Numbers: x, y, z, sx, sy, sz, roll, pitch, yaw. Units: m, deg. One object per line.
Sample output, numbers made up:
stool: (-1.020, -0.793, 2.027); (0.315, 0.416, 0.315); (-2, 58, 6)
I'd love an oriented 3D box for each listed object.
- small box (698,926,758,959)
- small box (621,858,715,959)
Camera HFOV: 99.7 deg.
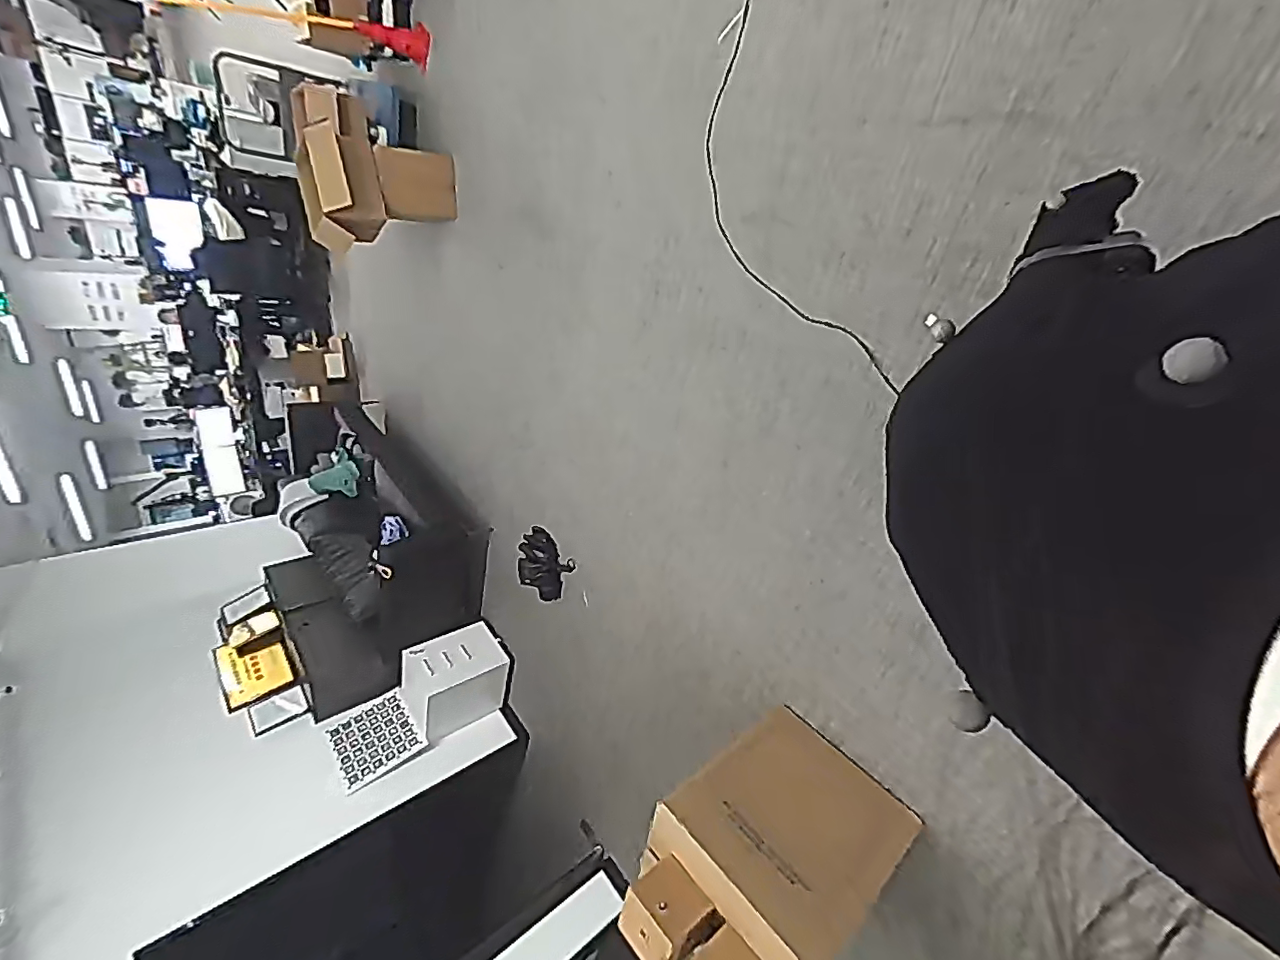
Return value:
small box: (0.219, 1.272, 1.333); (0.179, 0.176, 0.168); (32, 118, 40)
small box: (0.078, 1.187, 1.471); (0.179, 0.176, 0.168); (30, 116, 42)
